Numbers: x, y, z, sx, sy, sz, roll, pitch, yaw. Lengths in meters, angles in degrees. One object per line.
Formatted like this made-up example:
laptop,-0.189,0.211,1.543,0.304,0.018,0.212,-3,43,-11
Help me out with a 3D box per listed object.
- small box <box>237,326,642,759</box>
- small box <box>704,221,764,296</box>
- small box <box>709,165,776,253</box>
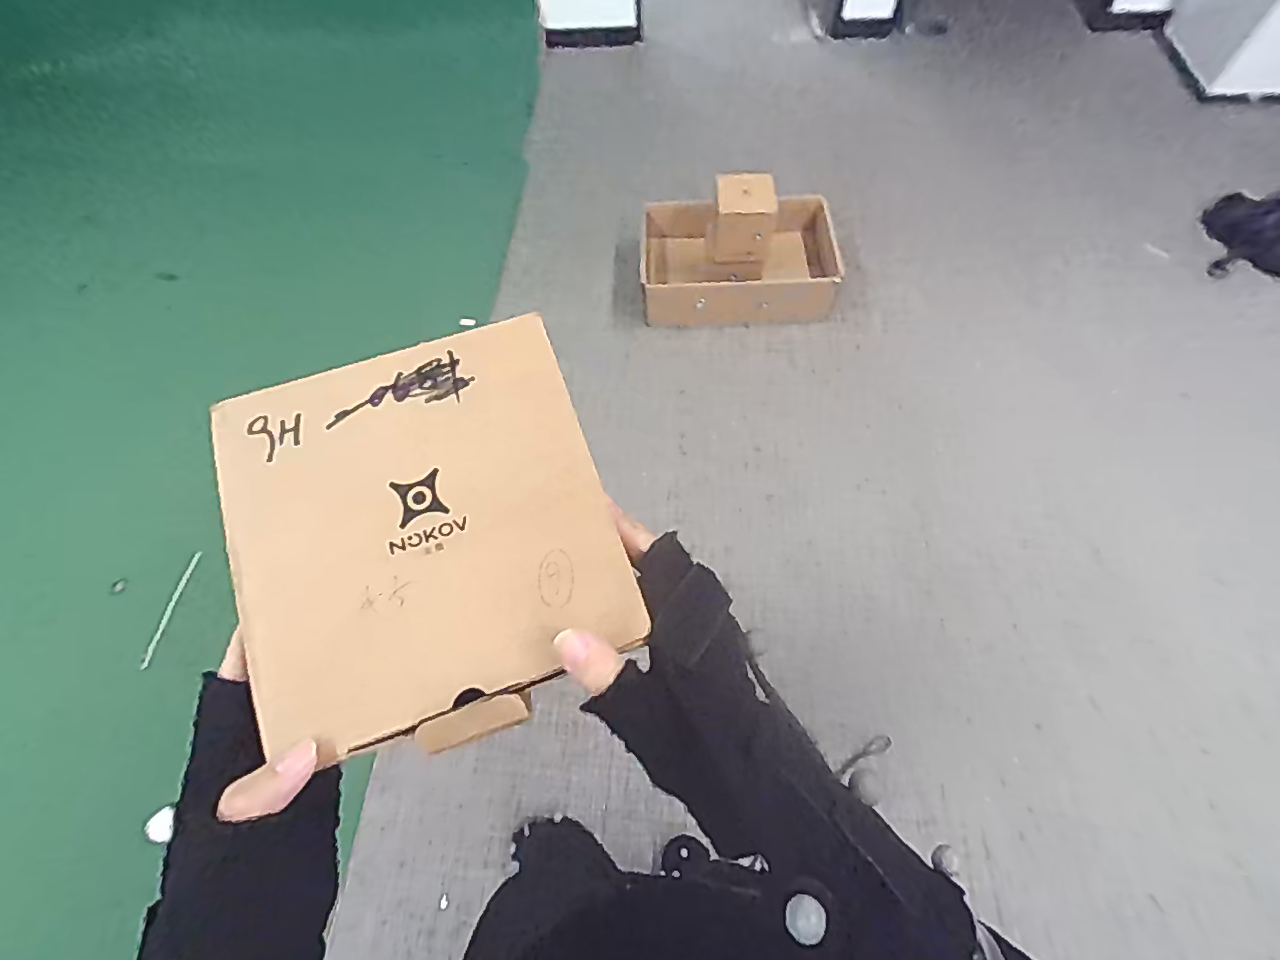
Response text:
small box,-0.103,0.040,0.341,0.168,0.176,0.179,-18,76,-7
small box,0.302,-0.724,1.768,0.179,0.176,0.168,-1,62,5
small box,0.299,-0.795,1.605,0.168,0.176,0.179,-4,63,1
